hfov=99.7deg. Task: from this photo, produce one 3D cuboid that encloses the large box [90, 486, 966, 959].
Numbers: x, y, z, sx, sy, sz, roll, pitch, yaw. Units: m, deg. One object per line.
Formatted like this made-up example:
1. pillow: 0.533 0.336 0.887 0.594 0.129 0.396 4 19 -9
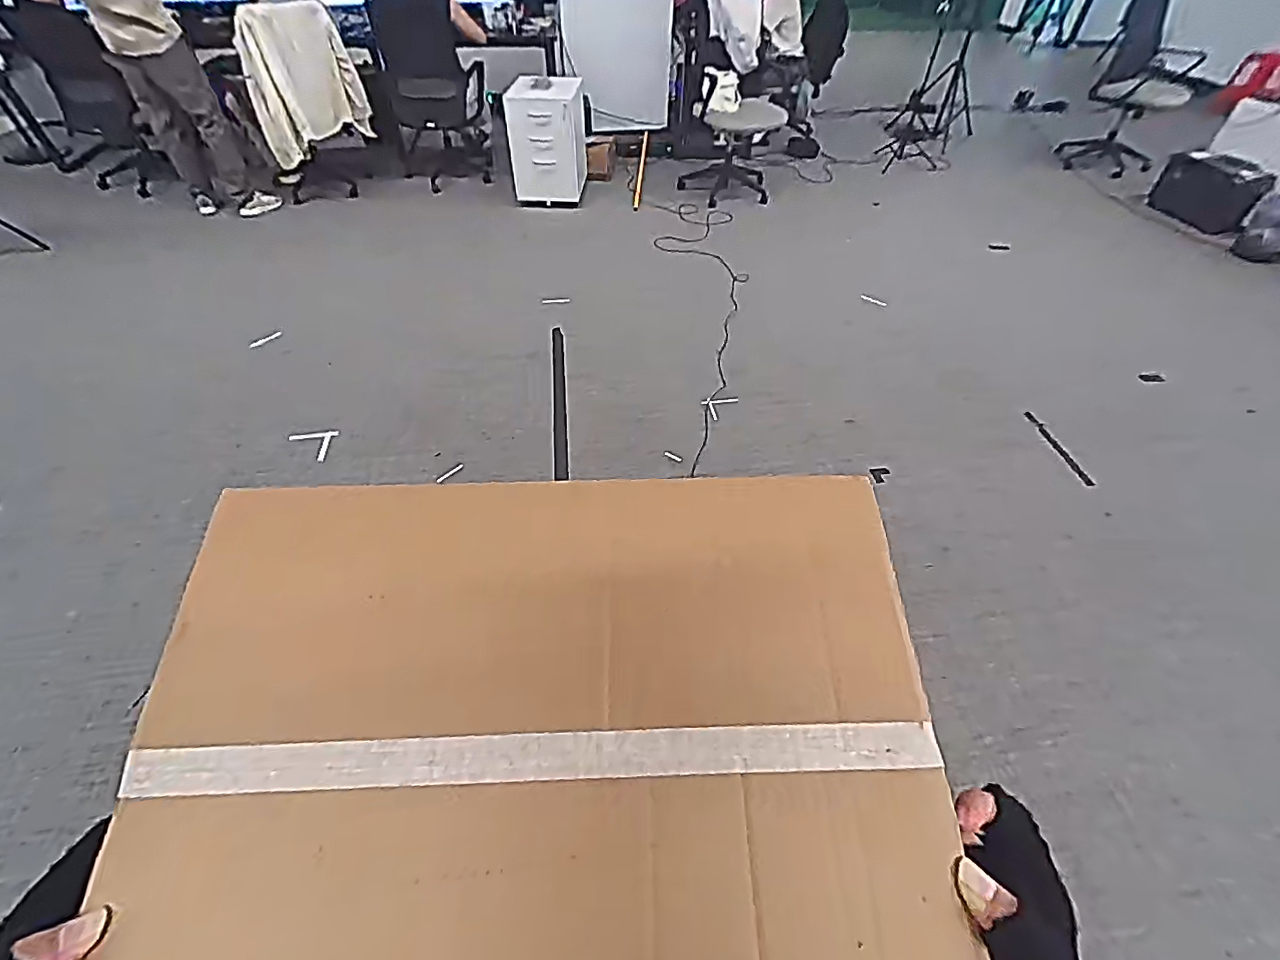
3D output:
1. large box: -0.054 0.214 0.414 0.408 0.320 0.320 -1 64 -1
